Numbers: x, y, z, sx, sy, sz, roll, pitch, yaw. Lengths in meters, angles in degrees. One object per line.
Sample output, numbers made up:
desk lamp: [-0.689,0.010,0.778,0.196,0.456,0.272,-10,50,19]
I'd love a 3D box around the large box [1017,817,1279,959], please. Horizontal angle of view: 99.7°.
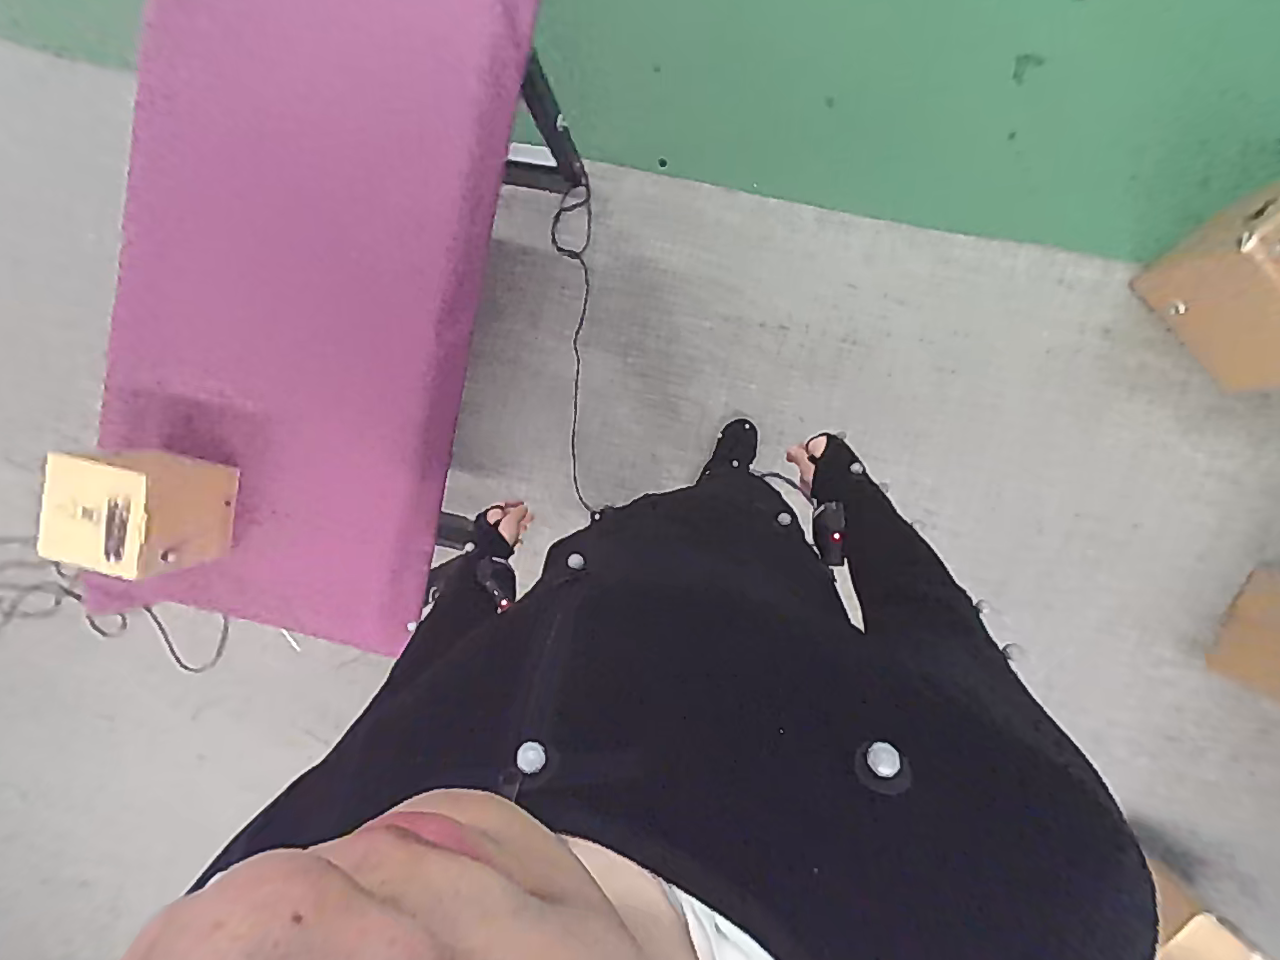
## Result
large box: [1.347,1.238,1.452,0.320,0.320,0.408,36,96,1]

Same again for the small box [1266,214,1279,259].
small box: [1.409,-0.505,1.056,0.179,0.176,0.168,-38,91,7]
